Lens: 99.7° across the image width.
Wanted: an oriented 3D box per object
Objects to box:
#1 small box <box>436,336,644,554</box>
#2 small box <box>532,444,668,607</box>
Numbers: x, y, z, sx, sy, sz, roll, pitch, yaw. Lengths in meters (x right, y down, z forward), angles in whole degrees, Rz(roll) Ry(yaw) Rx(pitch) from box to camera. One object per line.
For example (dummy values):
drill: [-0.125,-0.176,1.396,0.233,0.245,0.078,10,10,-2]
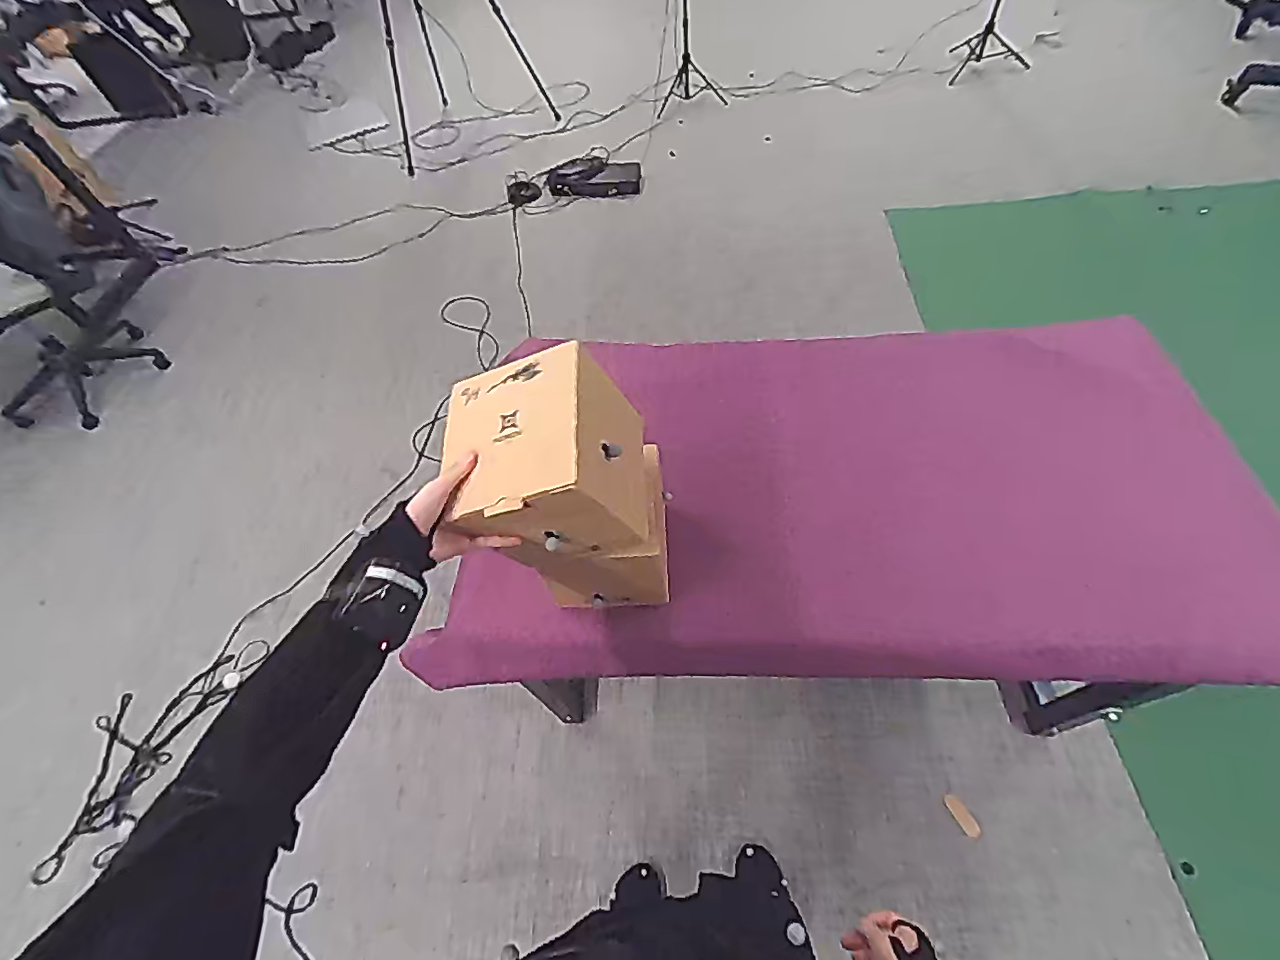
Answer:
small box: [-0.104,-0.024,0.615,0.168,0.176,0.179,-15,61,20]
small box: [-0.048,0.069,0.782,0.168,0.176,0.179,-3,55,5]
